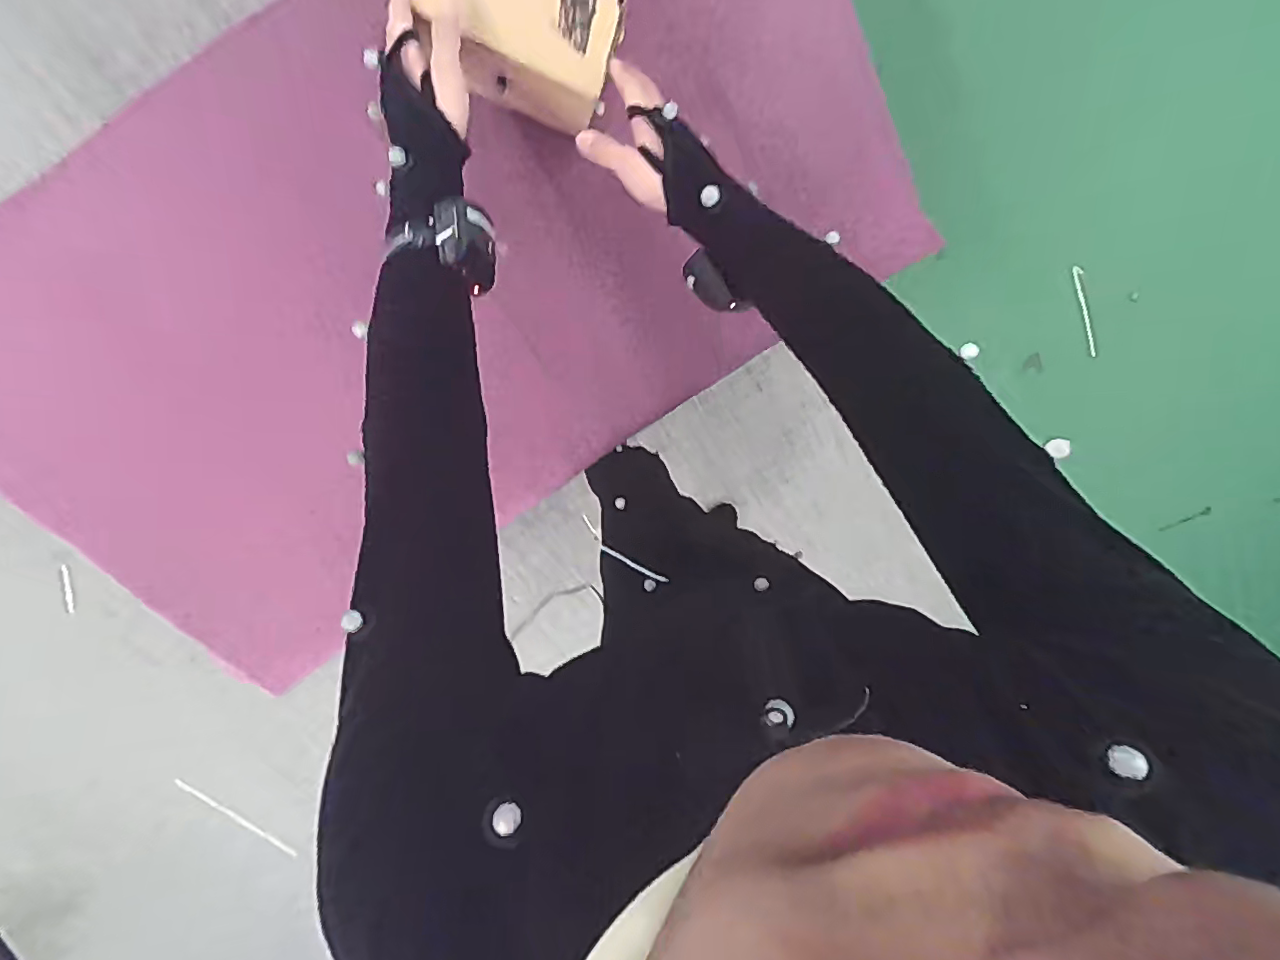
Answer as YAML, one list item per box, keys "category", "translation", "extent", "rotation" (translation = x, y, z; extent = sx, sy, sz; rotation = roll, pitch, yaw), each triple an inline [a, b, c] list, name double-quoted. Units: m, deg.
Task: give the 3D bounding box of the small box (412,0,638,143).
- category: "small box"
  translation: [-0.104, -0.468, 0.542]
  extent: [0.179, 0.176, 0.168]
  rotation: [16, 106, -16]
